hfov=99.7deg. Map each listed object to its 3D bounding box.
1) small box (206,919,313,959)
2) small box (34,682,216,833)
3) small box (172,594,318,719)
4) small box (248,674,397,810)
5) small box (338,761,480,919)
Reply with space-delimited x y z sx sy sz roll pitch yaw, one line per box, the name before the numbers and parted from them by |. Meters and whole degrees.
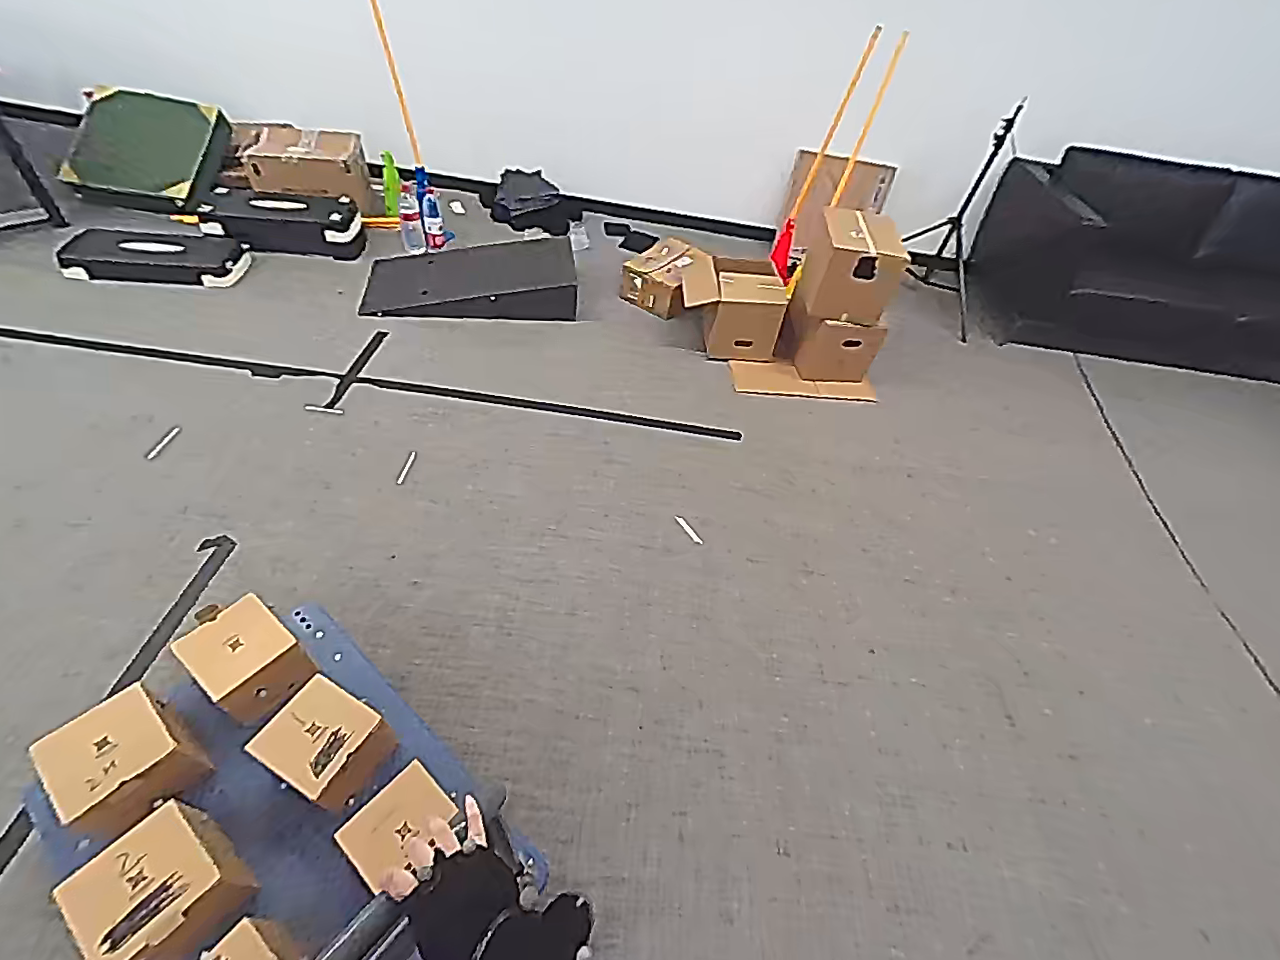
small box | -0.601 0.821 0.828 0.179 0.176 0.168 34 50 18
small box | -0.956 0.525 1.017 0.179 0.176 0.168 38 53 20
small box | -0.836 0.386 1.165 0.179 0.176 0.168 34 52 18
small box | -0.620 0.529 1.082 0.179 0.176 0.168 26 50 13
small box | -0.415 0.667 1.003 0.179 0.176 0.168 36 51 21
